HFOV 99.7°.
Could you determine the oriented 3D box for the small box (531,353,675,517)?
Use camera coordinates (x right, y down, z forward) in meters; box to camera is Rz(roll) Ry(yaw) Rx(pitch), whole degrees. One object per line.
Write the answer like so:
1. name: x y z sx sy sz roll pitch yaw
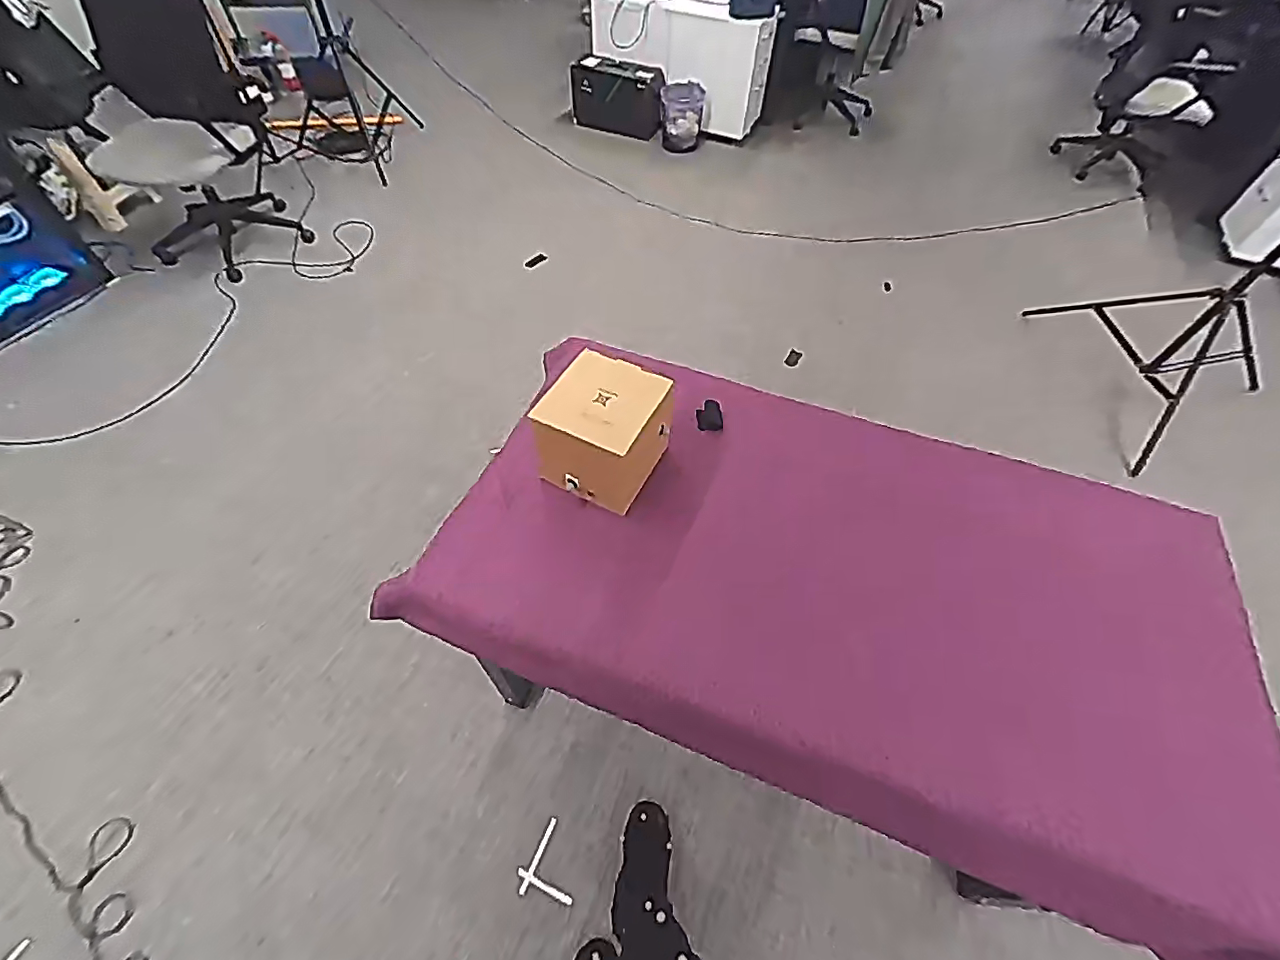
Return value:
1. small box: -0.057 -0.073 0.893 0.168 0.176 0.179 22 57 15
